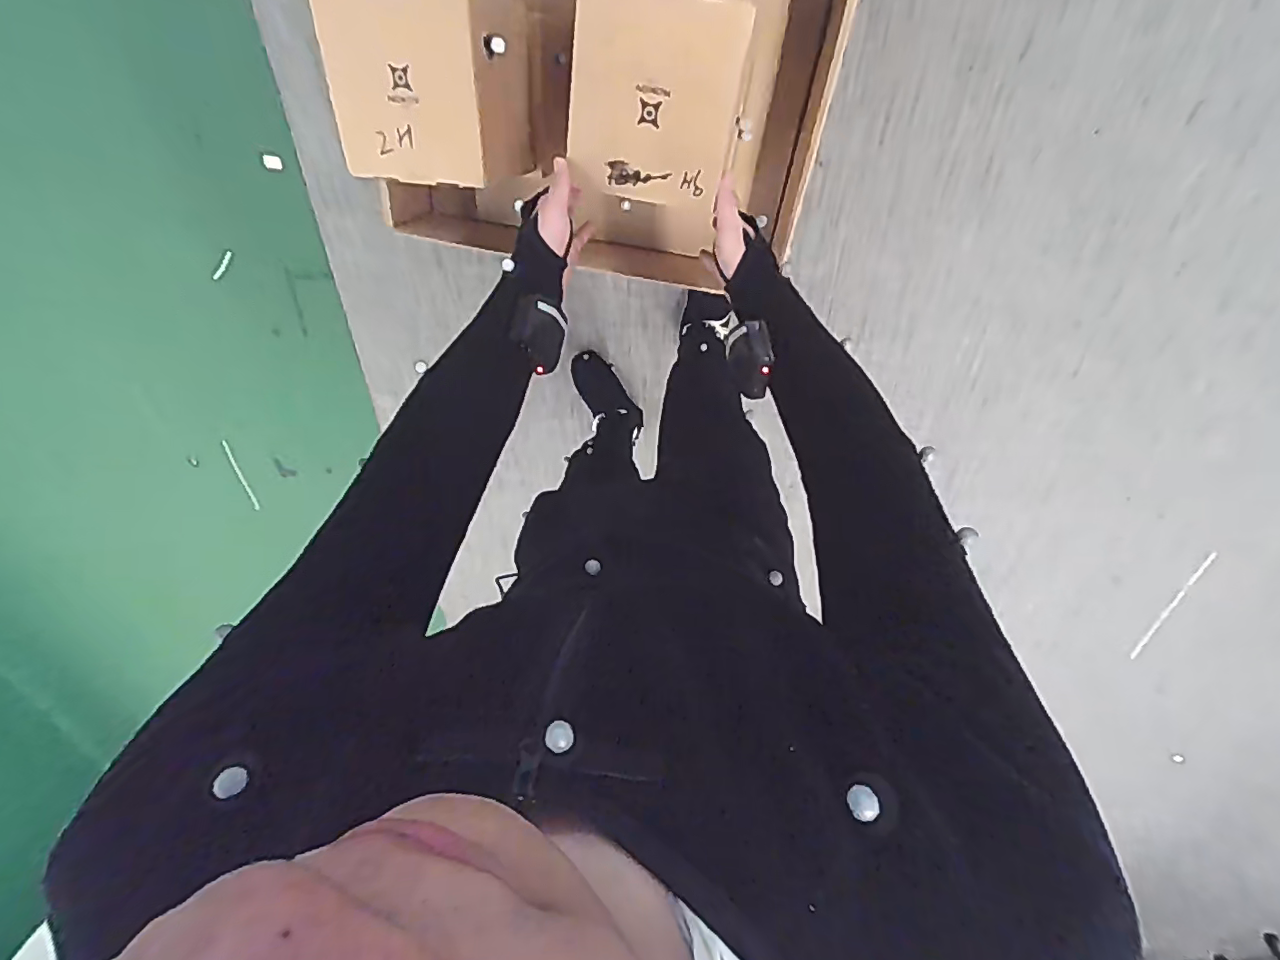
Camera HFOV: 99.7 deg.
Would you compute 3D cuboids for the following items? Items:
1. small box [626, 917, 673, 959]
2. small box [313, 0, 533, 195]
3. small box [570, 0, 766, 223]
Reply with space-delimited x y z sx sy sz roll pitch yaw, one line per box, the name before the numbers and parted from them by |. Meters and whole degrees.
small box | 0.033 1.781 2.035 0.168 0.176 0.179 6 126 7
small box | -0.229 -0.445 0.620 0.168 0.176 0.179 9 127 5
small box | 0.030 -0.403 0.597 0.168 0.176 0.179 13 123 2
